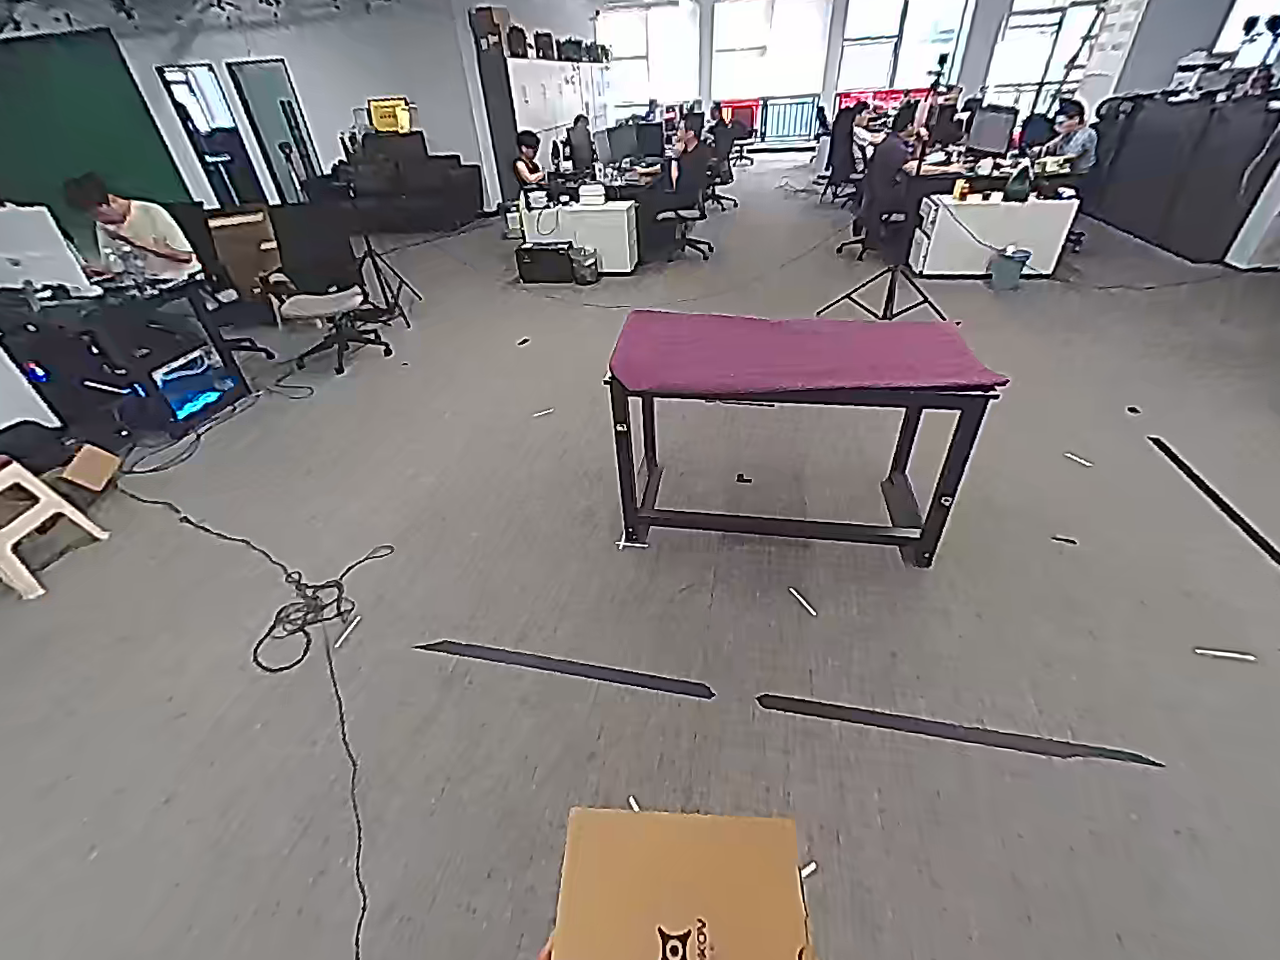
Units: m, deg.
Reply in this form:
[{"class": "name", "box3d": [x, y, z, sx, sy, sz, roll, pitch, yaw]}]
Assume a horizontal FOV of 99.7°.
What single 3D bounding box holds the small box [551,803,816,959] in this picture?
[{"class": "small box", "box3d": [0.032, 0.367, 0.414, 0.179, 0.176, 0.168, 0, 44, 4]}]
